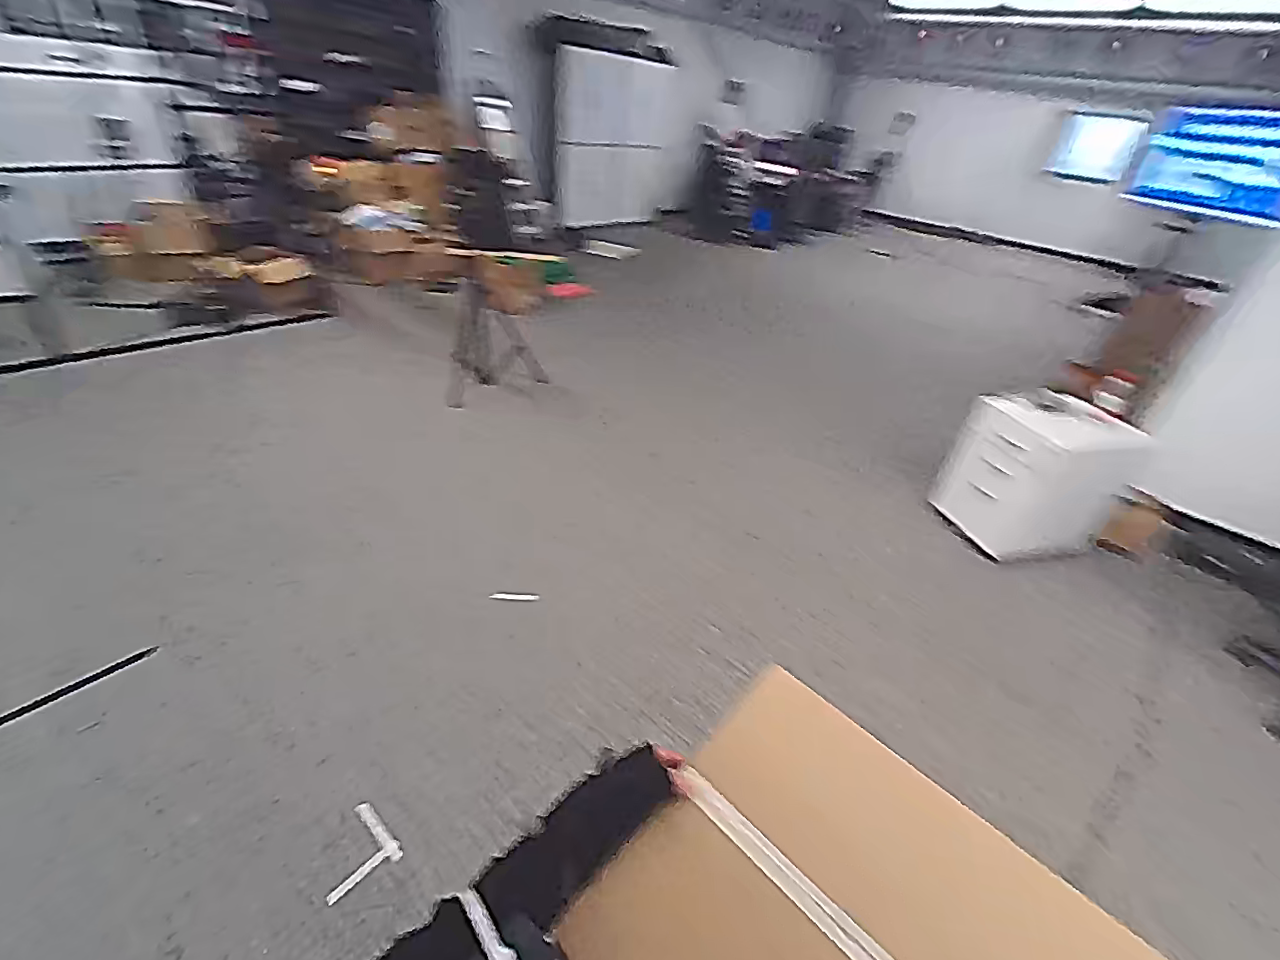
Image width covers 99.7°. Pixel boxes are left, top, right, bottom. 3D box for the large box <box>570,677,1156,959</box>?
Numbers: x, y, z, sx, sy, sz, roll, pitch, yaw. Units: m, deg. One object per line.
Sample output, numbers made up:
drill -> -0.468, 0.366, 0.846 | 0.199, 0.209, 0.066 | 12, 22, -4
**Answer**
large box -> 0.180, 0.483, 0.503 | 0.408, 0.320, 0.320 | 34, 50, 30
